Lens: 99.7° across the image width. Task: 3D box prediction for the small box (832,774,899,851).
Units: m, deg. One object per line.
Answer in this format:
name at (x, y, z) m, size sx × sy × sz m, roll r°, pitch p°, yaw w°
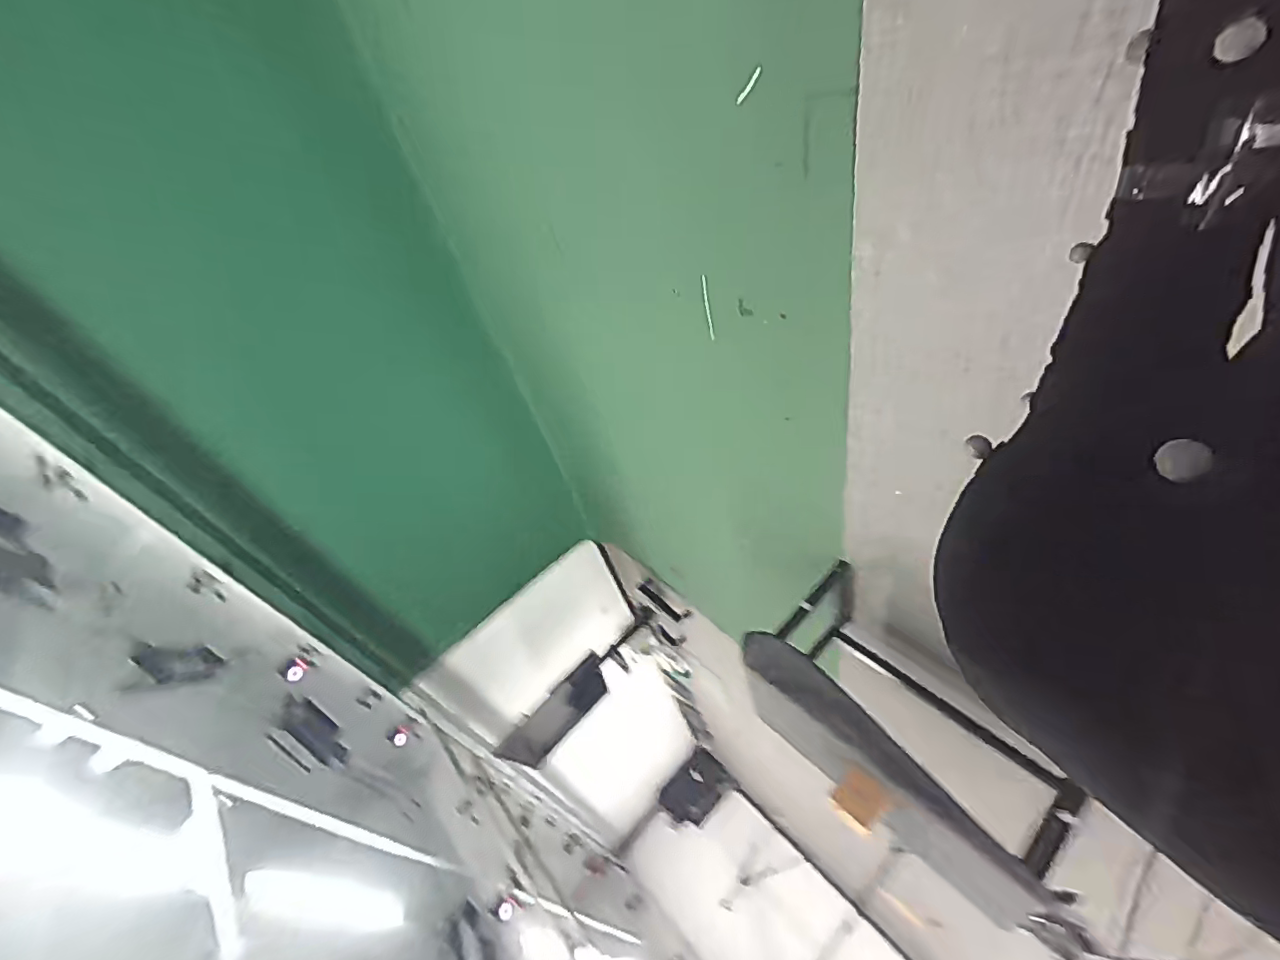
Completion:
small box at (0.868, 1.275, 2.089) m, size 0.179 × 0.176 × 0.168 m, roll 32°, pitch 153°, yaw 43°
